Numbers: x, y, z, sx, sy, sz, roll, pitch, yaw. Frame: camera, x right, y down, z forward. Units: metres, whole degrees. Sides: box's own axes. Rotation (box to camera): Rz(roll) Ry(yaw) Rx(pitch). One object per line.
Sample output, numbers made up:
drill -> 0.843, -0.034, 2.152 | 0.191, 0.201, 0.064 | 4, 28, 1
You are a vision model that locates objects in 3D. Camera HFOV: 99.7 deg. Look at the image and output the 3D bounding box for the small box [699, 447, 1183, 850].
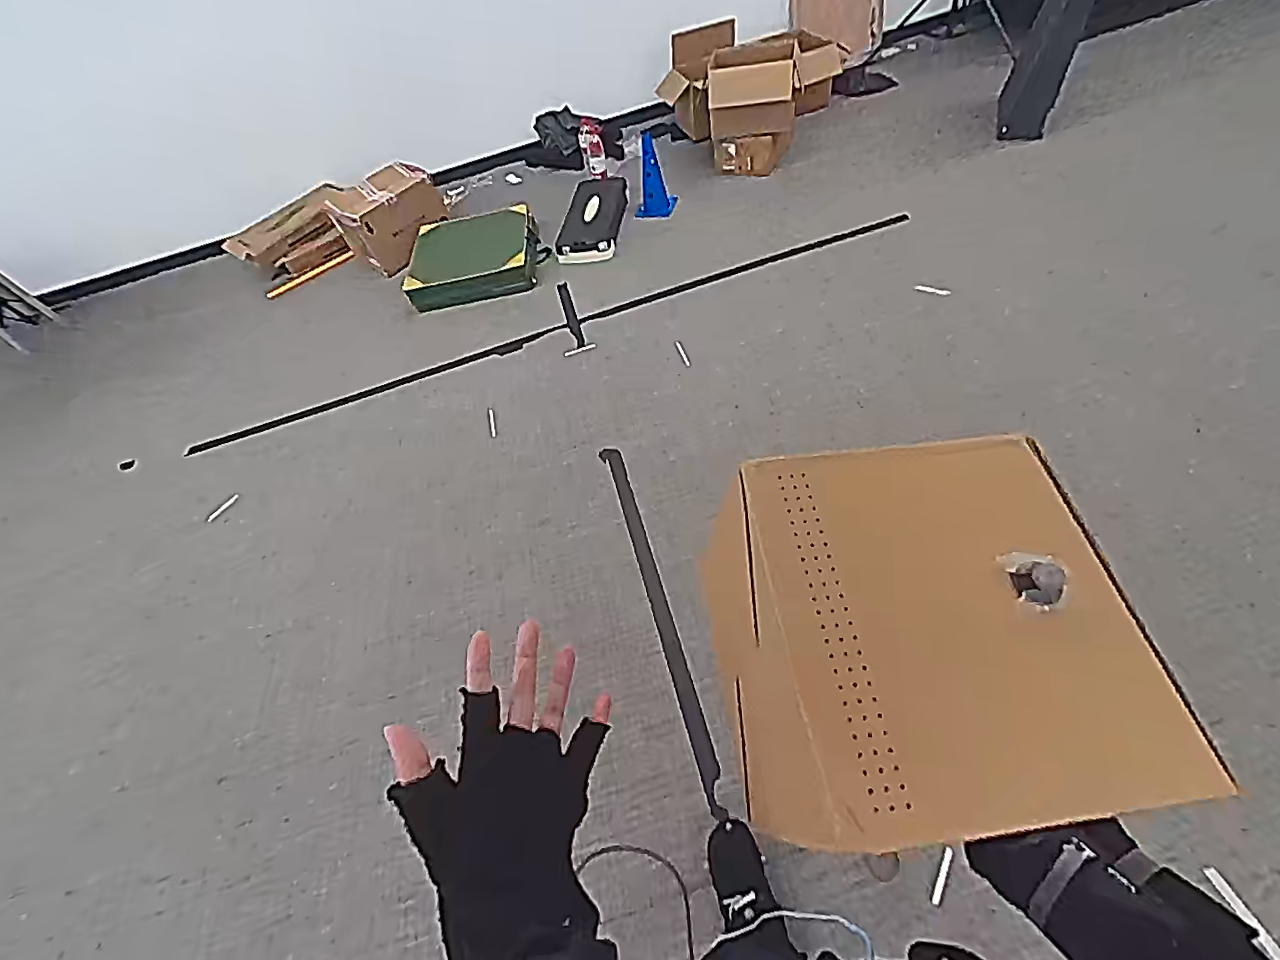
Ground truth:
small box -> 0.134, 0.102, 0.328 | 0.176, 0.168, 0.179 | -6, 60, -4
